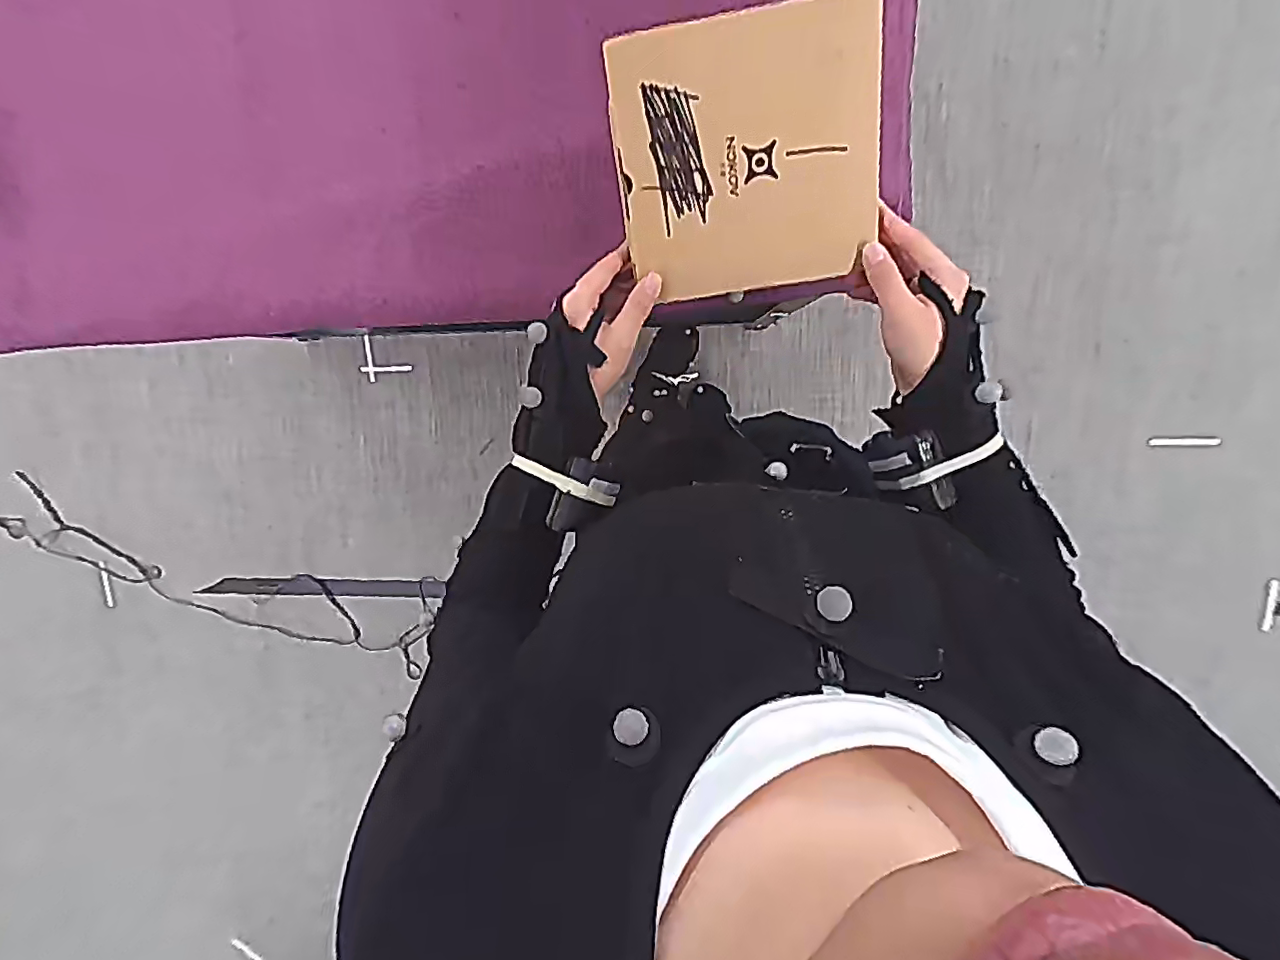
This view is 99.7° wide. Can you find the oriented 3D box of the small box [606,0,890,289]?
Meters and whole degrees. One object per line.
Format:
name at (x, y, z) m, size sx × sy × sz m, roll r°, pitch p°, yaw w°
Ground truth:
small box at (0.083, -0.255, 0.435) m, size 0.179 × 0.176 × 0.168 m, roll -5°, pitch 114°, yaw 9°
